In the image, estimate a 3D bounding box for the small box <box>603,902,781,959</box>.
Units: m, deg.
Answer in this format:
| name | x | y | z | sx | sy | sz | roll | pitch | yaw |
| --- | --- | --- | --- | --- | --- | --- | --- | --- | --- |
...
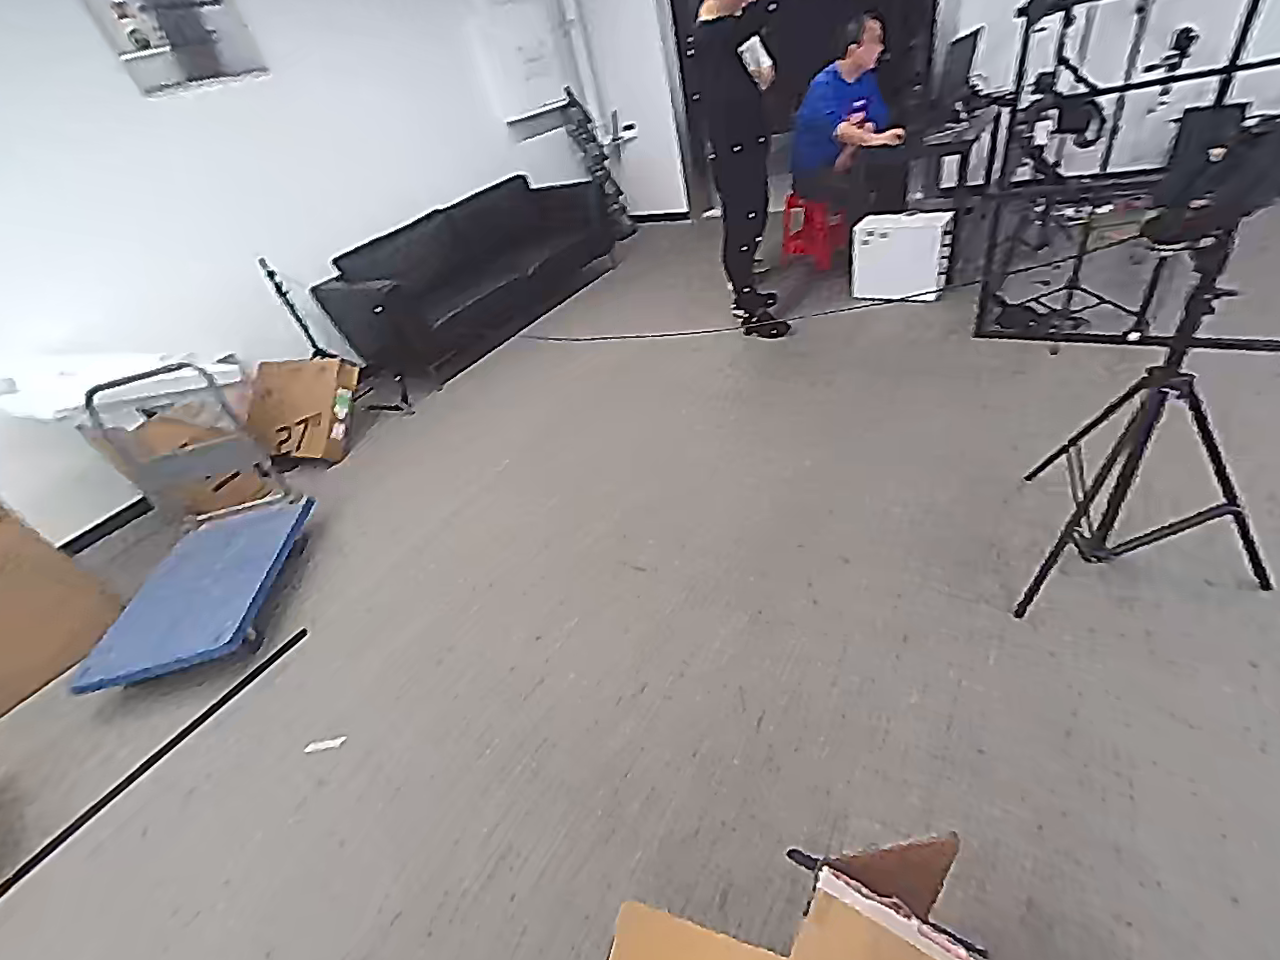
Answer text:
| name | x | y | z | sx | sy | sz | roll | pitch | yaw |
| --- | --- | --- | --- | --- | --- | --- | --- | --- | --- |
| small box | 0.040 | 0.527 | 0.478 | 0.179 | 0.176 | 0.168 | 9 | 34 | 14 |
